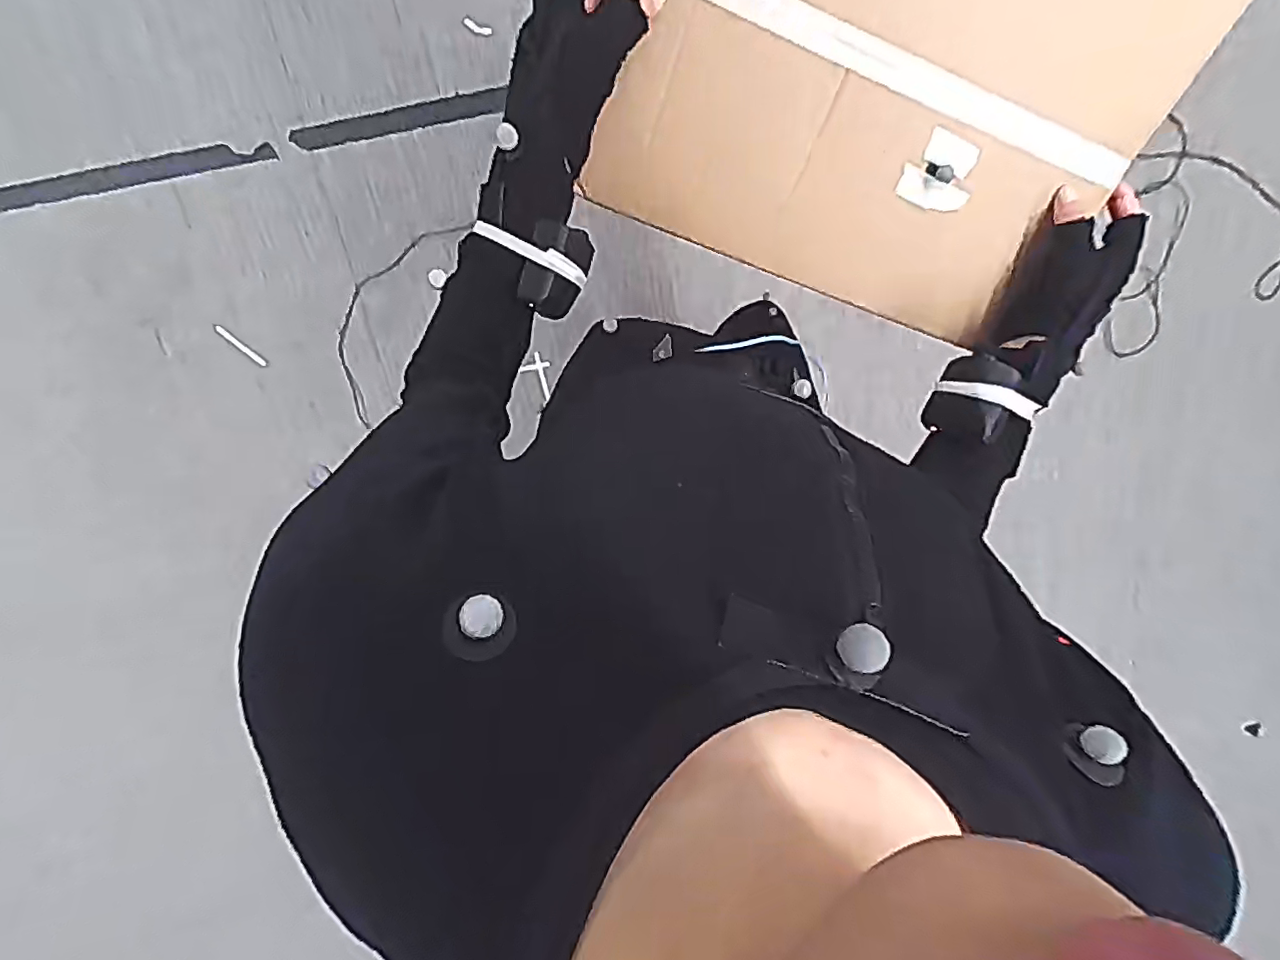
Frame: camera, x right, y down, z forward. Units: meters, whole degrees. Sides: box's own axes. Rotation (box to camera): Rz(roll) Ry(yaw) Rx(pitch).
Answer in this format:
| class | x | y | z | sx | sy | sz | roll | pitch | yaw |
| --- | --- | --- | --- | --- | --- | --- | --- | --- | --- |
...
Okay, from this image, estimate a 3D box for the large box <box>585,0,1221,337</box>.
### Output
| class | x | y | z | sx | sy | sz | roll | pitch | yaw |
| --- | --- | --- | --- | --- | --- | --- | --- | --- | --- |
| large box | 0.186 | -0.391 | 0.527 | 0.408 | 0.320 | 0.320 | 17 | 124 | -12 |
